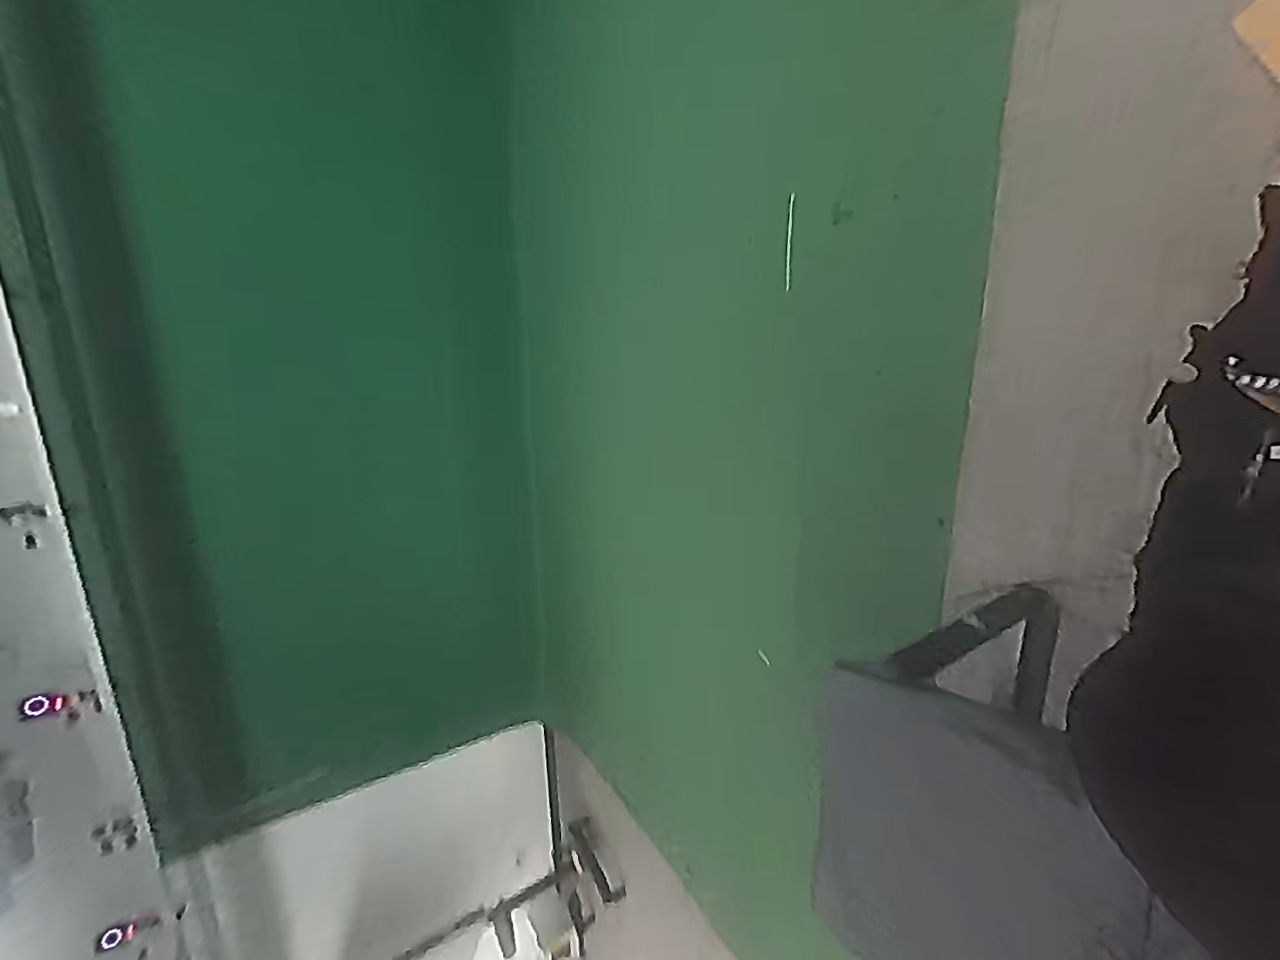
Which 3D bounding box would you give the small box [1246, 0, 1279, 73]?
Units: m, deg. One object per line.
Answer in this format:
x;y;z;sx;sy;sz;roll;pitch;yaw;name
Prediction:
0.463;-0.255;0.271;0.179;0.176;0.168;57;144;3;small box
